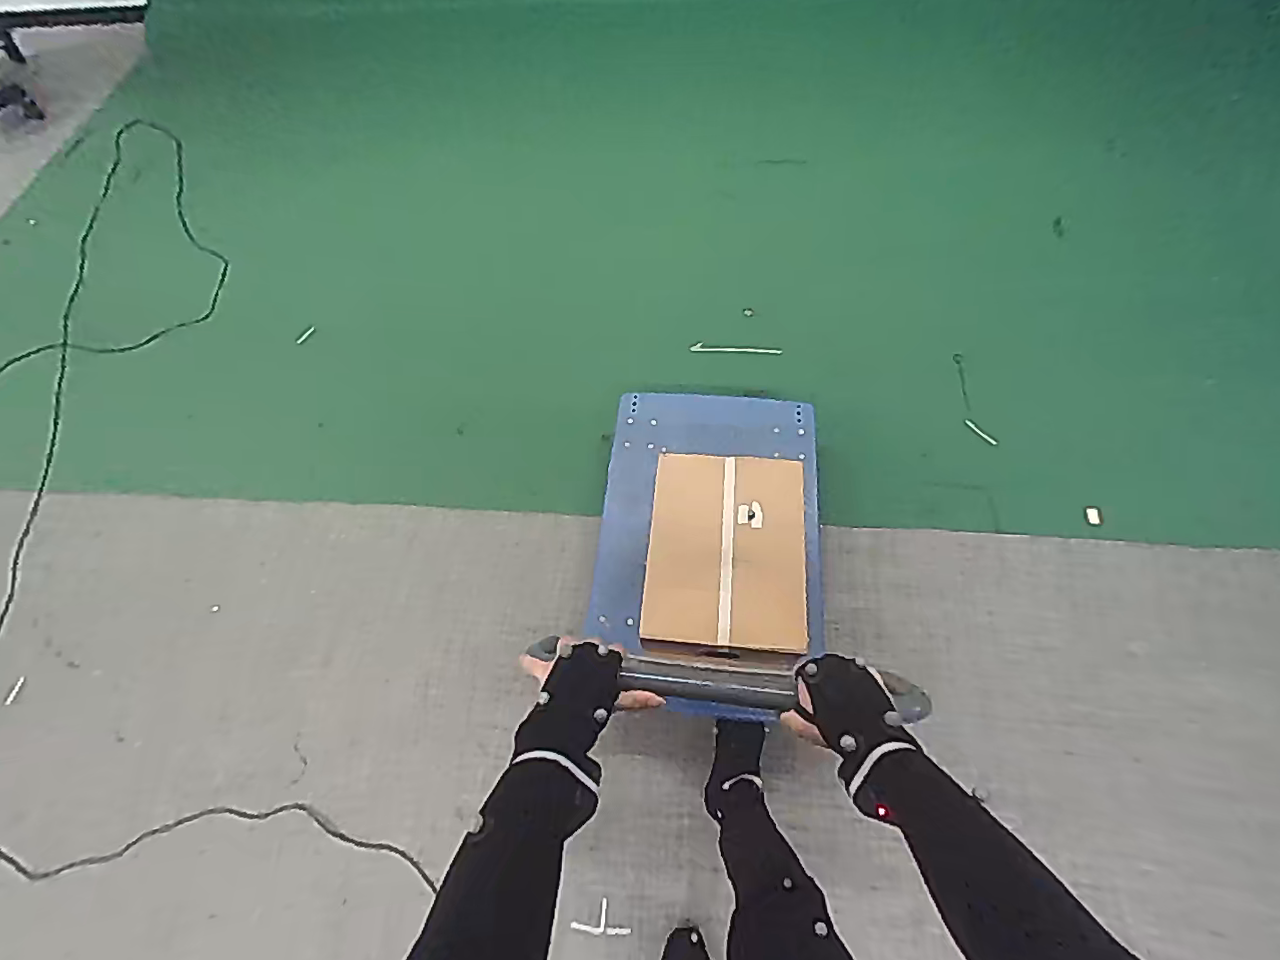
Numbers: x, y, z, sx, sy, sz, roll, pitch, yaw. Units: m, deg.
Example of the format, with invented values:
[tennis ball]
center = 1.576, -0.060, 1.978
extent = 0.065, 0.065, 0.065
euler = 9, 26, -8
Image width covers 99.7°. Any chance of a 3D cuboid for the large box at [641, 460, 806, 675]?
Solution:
[large box]
center = 0.180, 0.207, 1.231
extent = 0.320, 0.320, 0.408
euler = 4, 62, 5
